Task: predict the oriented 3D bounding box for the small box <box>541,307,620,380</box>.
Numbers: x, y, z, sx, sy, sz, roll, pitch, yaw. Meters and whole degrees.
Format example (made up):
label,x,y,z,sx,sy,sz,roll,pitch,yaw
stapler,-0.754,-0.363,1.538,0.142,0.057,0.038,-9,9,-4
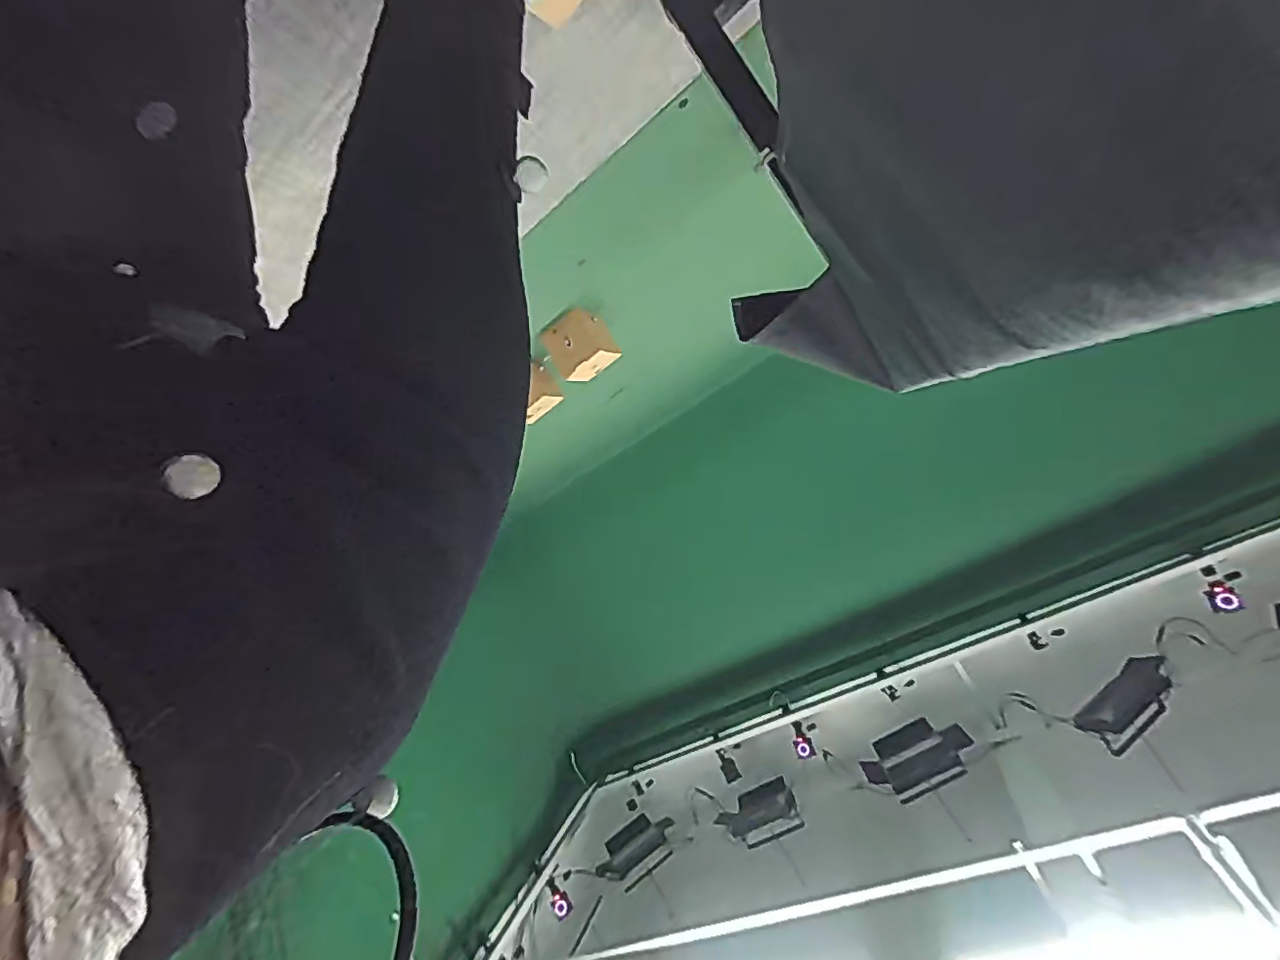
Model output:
label,x,y,z,sx,sy,sz,roll,pitch,yaw
small box,-0.202,-0.459,1.822,0.168,0.176,0.179,-32,175,22
